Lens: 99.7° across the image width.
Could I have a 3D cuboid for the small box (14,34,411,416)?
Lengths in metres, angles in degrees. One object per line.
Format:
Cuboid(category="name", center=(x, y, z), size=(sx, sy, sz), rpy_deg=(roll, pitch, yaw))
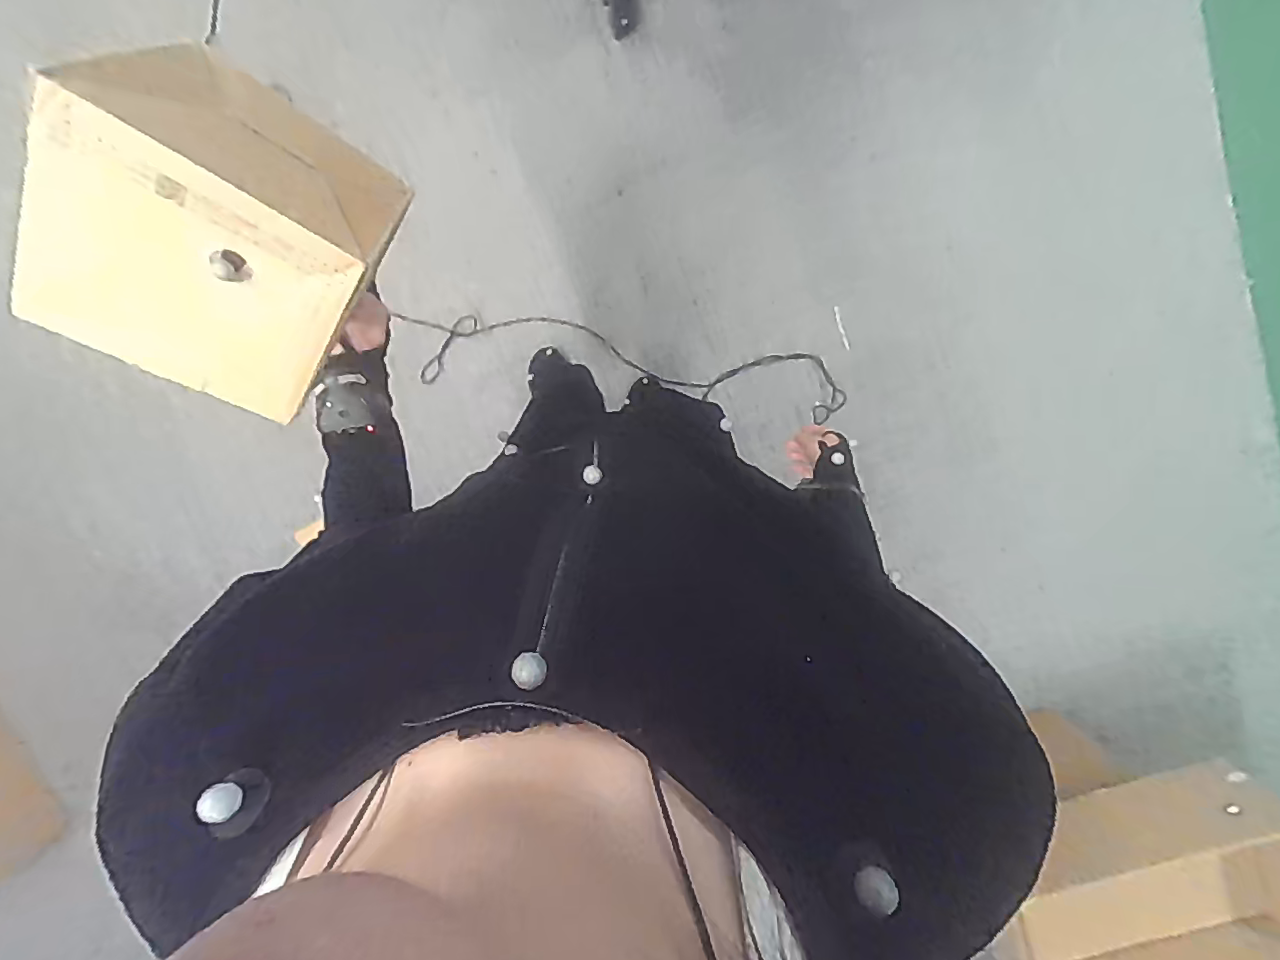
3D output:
Cuboid(category="small box", center=(-0.296, -0.189, 0.408), size=(0.168, 0.179, 0.176), rpy_deg=(28, 122, -30))
